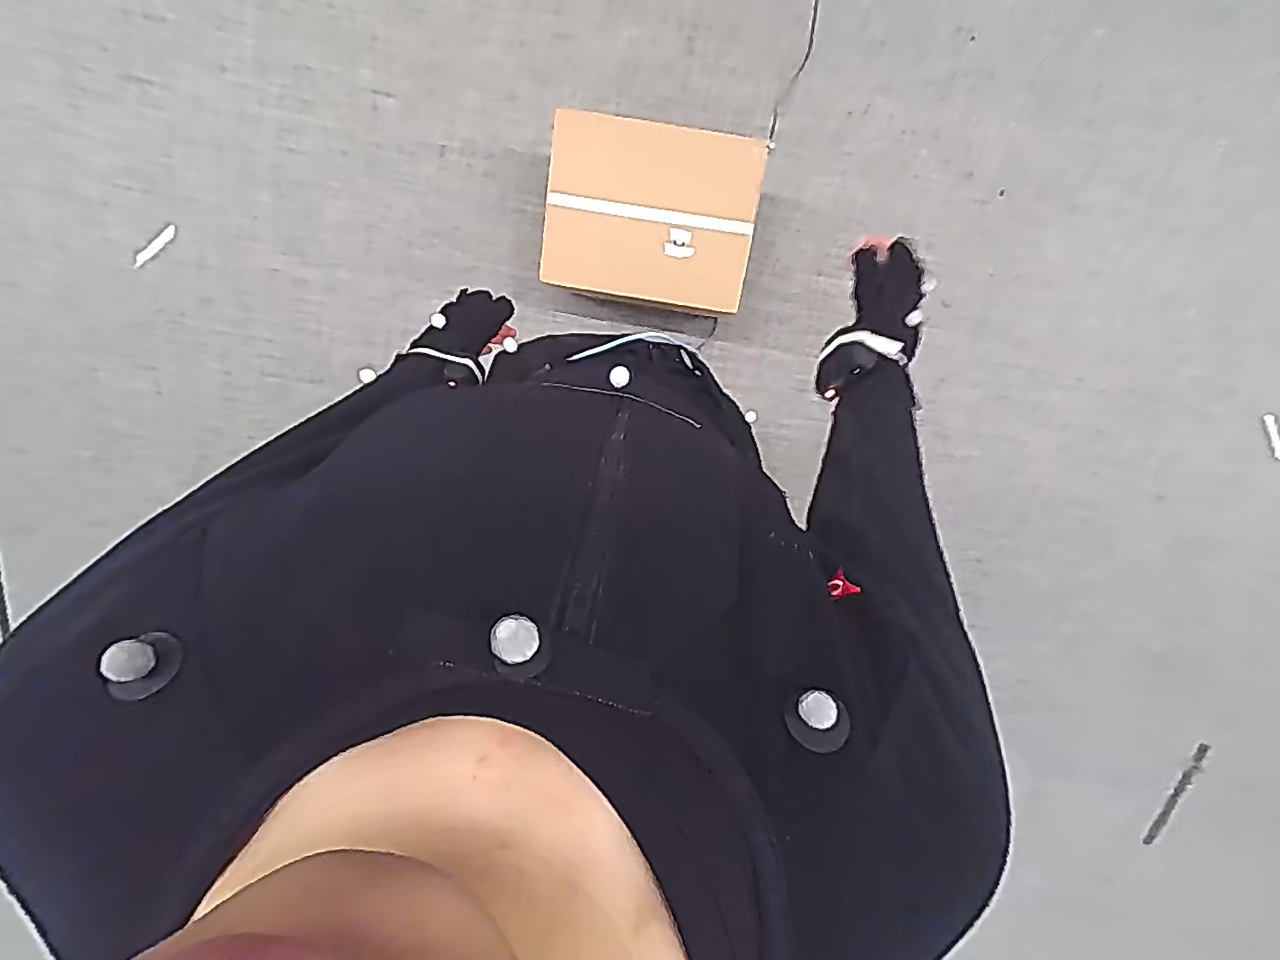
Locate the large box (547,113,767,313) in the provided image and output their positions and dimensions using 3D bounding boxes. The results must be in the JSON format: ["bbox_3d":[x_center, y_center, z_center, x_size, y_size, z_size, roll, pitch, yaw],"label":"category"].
[{"bbox_3d":[0.028,-0.560,1.203,0.408,0.320,0.320,9,106,-1],"label":"large box"}]
